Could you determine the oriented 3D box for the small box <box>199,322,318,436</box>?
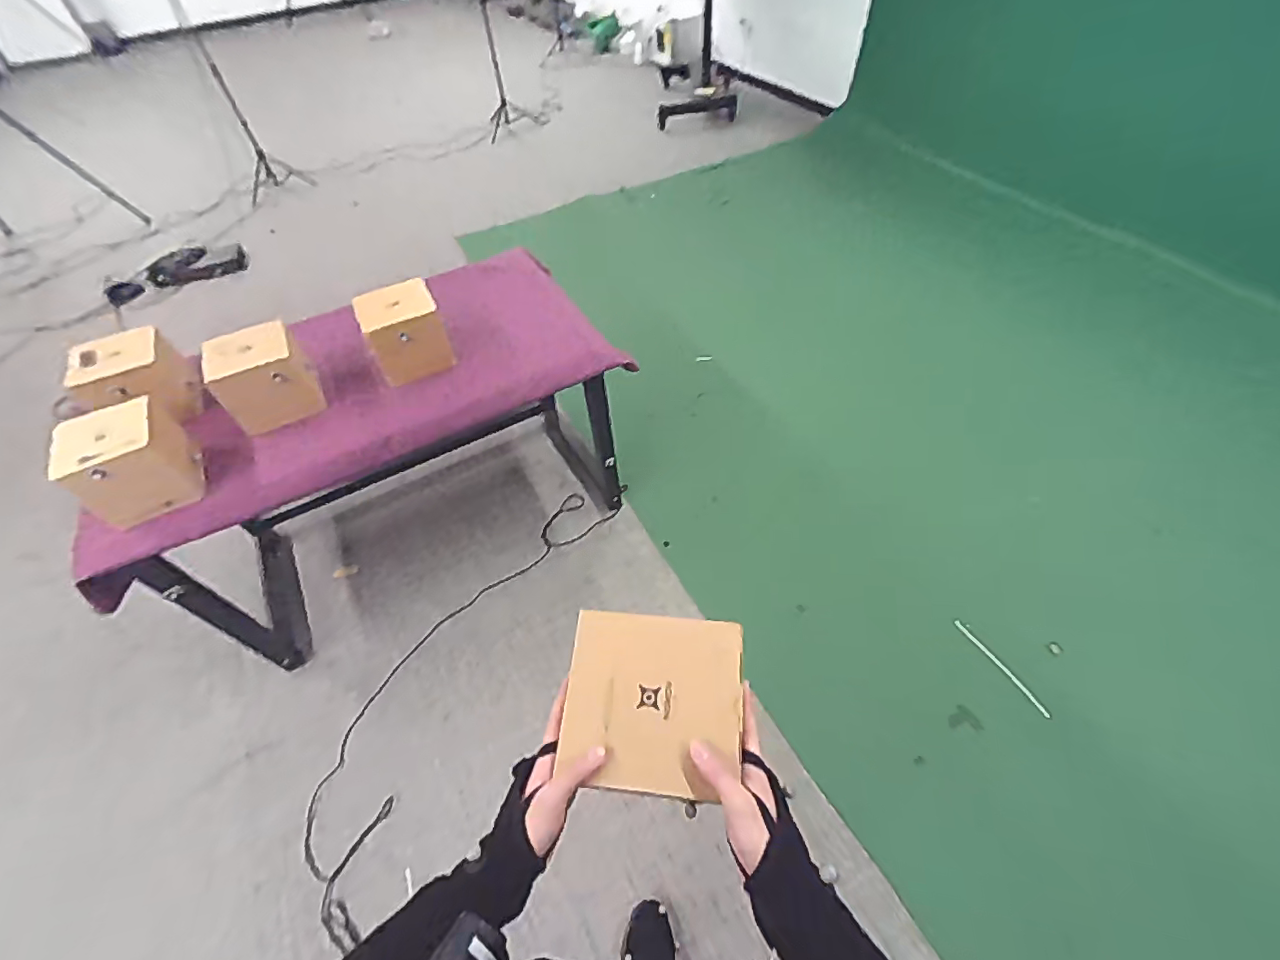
[{"bbox_3d":[-0.878,-0.233,1.259,0.179,0.176,0.168,-24,54,-16],"label":"small box"}]

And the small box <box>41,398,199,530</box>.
[{"bbox_3d":[-1.045,-0.031,1.105,0.168,0.176,0.179,-27,53,-17],"label":"small box"}]

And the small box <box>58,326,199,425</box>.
[{"bbox_3d":[-1.187,-0.225,1.269,0.179,0.176,0.168,-24,55,-17],"label":"small box"}]

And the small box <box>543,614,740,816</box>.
[{"bbox_3d":[0.011,0.259,0.591,0.179,0.176,0.168,4,59,7],"label":"small box"}]

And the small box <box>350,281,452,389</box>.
[{"bbox_3d":[-0.586,-0.360,1.348,0.179,0.176,0.168,-25,55,-15],"label":"small box"}]
